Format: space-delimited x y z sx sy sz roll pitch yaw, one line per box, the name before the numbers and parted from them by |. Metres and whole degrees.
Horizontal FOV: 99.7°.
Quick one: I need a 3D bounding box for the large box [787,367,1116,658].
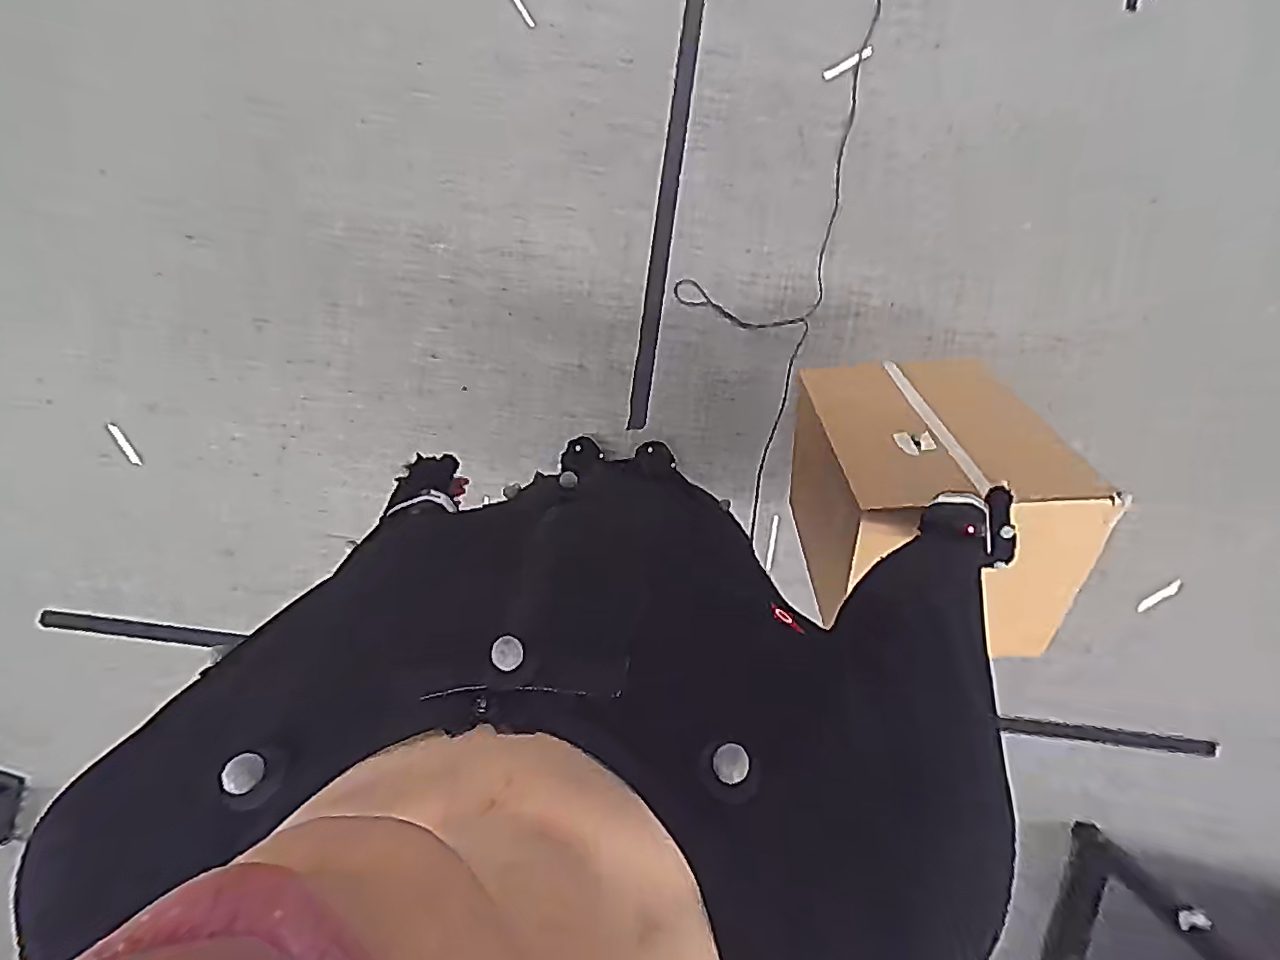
large box | 0.455 0.041 0.926 0.320 0.408 0.320 -4 128 5
